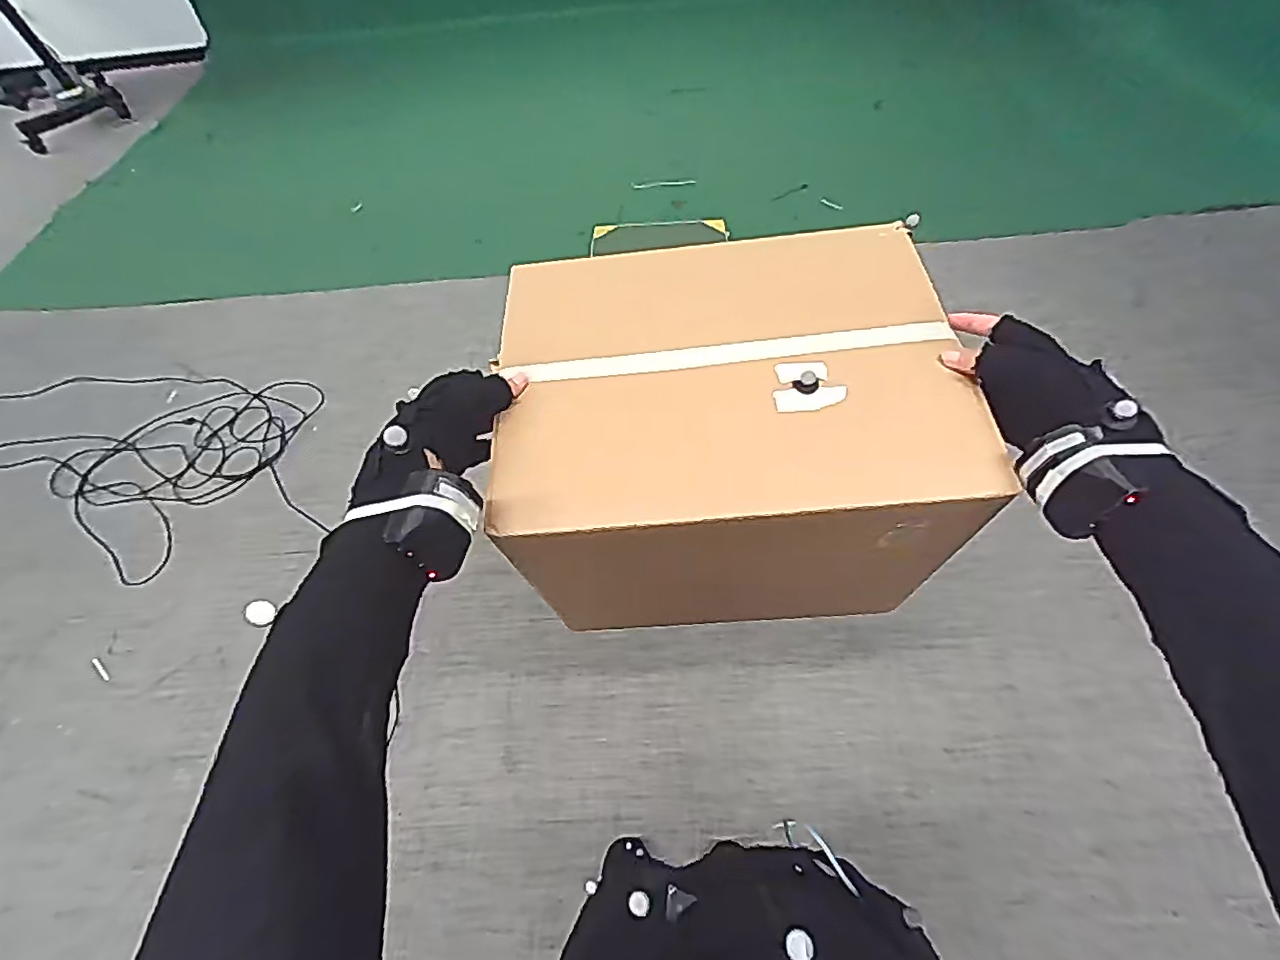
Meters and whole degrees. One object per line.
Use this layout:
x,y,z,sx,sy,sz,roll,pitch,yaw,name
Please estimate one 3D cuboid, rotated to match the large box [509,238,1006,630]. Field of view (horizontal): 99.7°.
0.091,-0.030,0.628,0.408,0.320,0.320,-5,61,3,large box
